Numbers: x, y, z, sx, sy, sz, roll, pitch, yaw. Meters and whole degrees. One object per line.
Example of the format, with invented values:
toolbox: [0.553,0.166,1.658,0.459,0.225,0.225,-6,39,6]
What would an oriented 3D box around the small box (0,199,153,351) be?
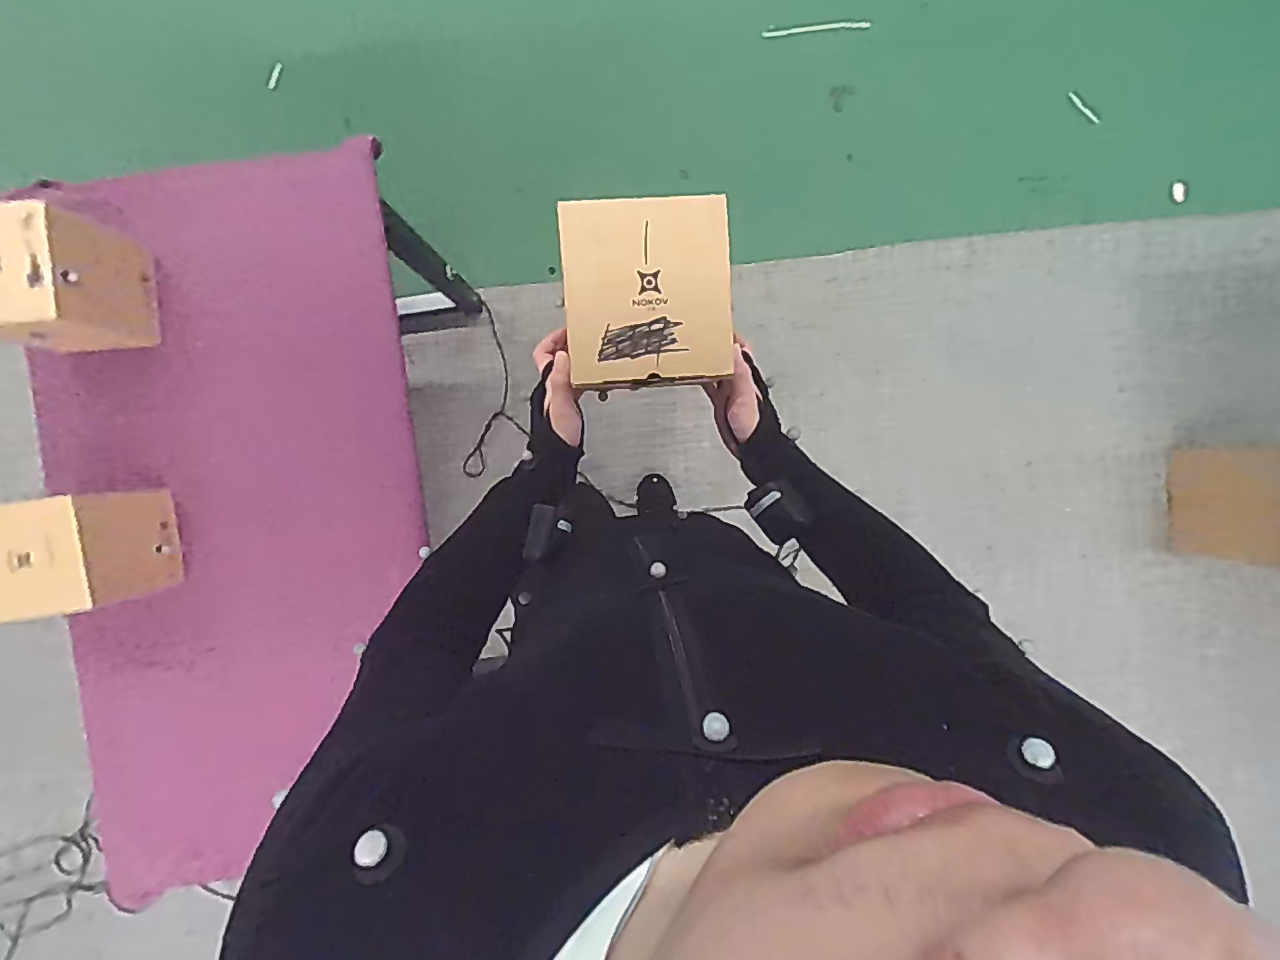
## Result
small box: [-0.900,-0.297,0.817,0.179,0.176,0.168,-4,93,1]

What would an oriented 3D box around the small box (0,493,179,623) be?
small box: [-0.871,0.113,0.830,0.179,0.176,0.168,-8,92,0]

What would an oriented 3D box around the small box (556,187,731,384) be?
small box: [0.001,-0.196,0.594,0.168,0.176,0.179,-3,97,-4]
